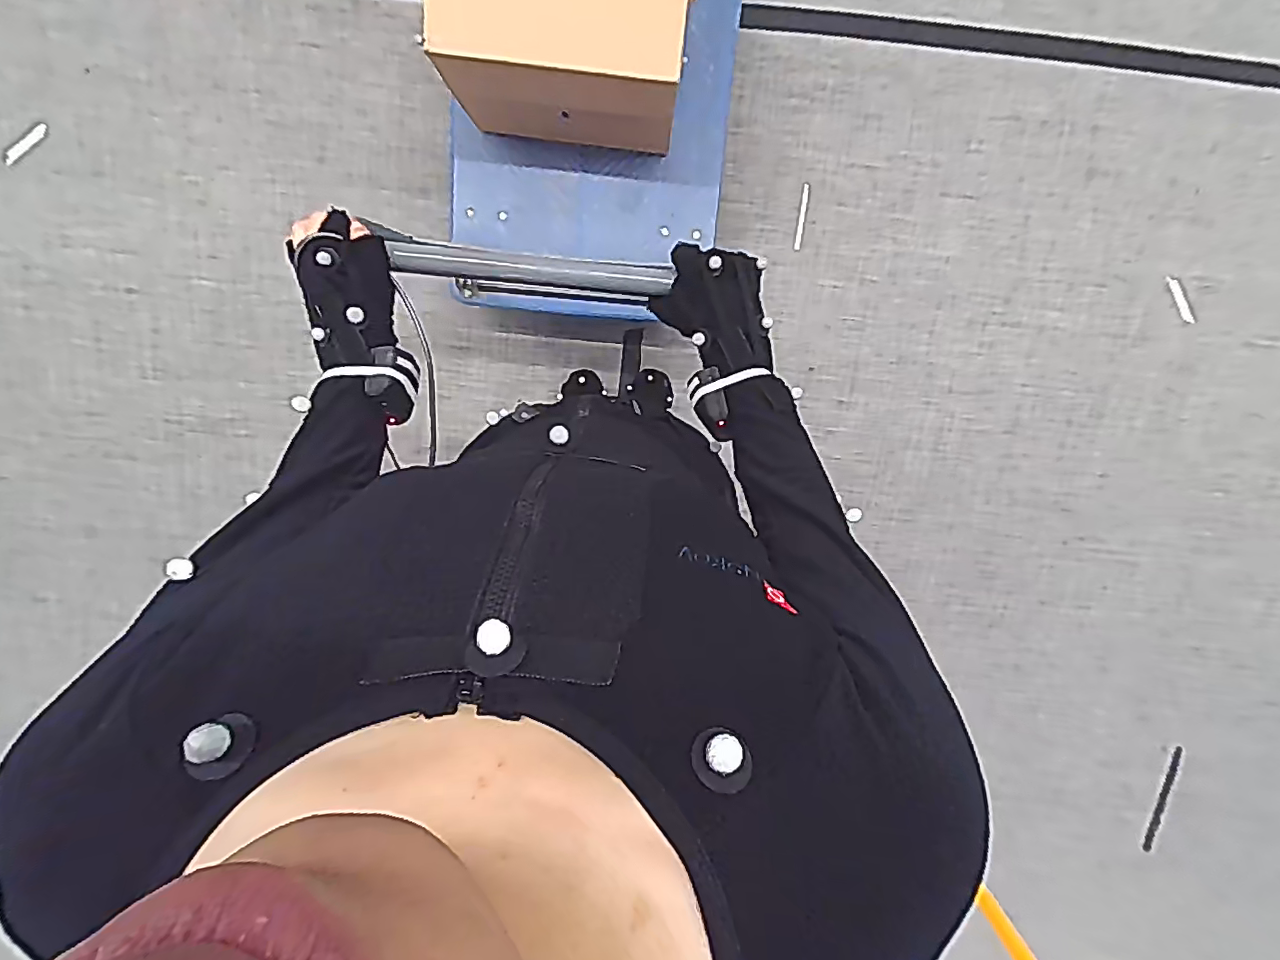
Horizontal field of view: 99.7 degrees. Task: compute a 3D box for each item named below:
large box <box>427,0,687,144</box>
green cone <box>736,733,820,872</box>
[{"bbox_3d":[-0.121,-0.835,0.963,0.408,0.320,0.320,6,103,-1],"label":"large box"},{"bbox_3d":[0.416,0.918,1.512,0.202,0.368,0.200,9,102,-4],"label":"green cone"}]
